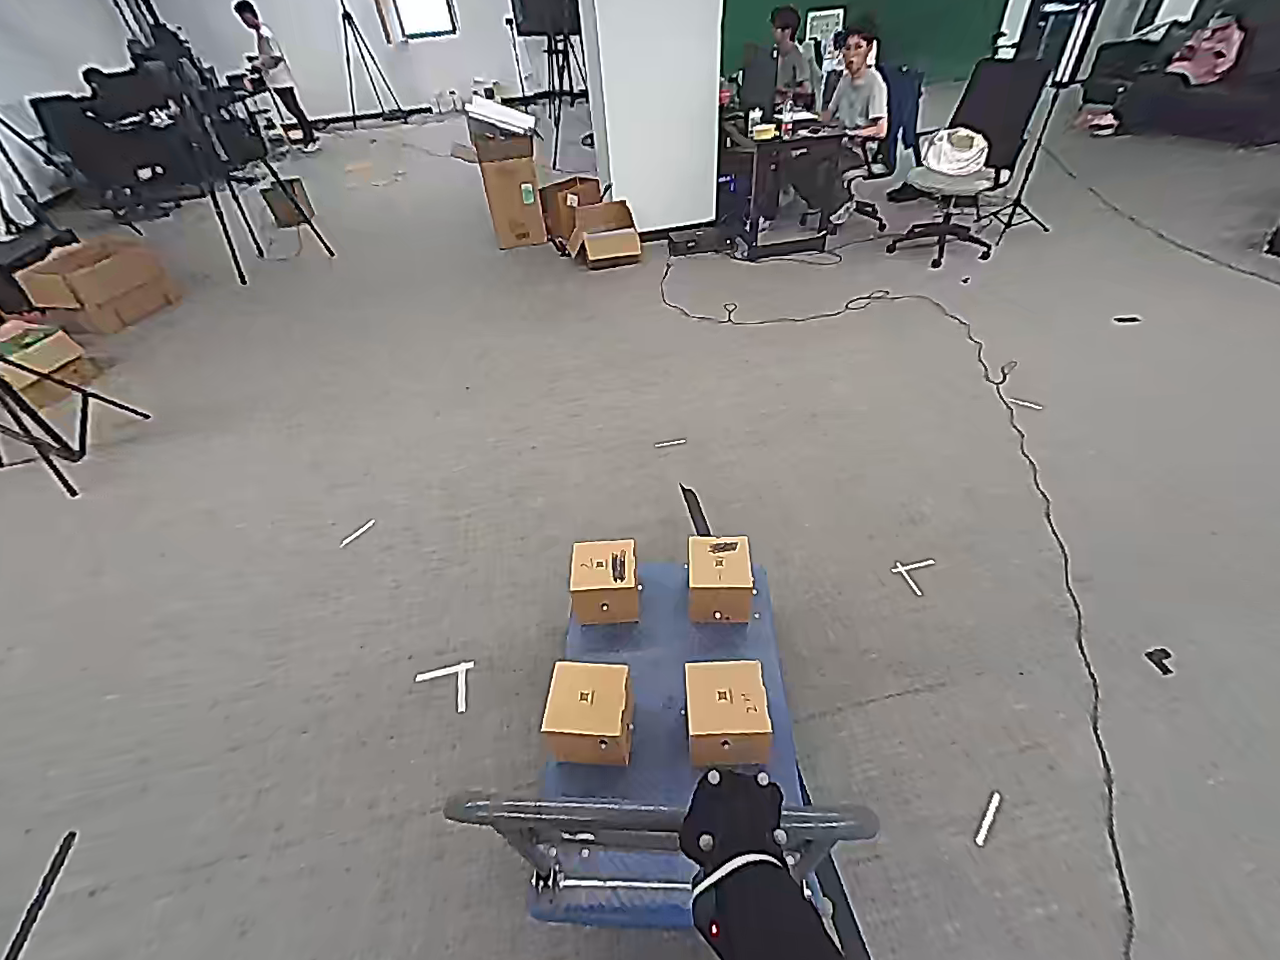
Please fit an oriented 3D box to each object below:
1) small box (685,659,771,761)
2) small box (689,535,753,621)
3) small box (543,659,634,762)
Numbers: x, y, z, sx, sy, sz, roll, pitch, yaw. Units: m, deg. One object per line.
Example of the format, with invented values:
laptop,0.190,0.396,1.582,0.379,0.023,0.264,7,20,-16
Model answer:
small box,0.197,0.530,1.240,0.179,0.176,0.168,-3,43,3
small box,0.222,0.274,1.516,0.168,0.176,0.179,-1,44,5
small box,-0.112,0.540,1.263,0.179,0.176,0.168,2,43,5
